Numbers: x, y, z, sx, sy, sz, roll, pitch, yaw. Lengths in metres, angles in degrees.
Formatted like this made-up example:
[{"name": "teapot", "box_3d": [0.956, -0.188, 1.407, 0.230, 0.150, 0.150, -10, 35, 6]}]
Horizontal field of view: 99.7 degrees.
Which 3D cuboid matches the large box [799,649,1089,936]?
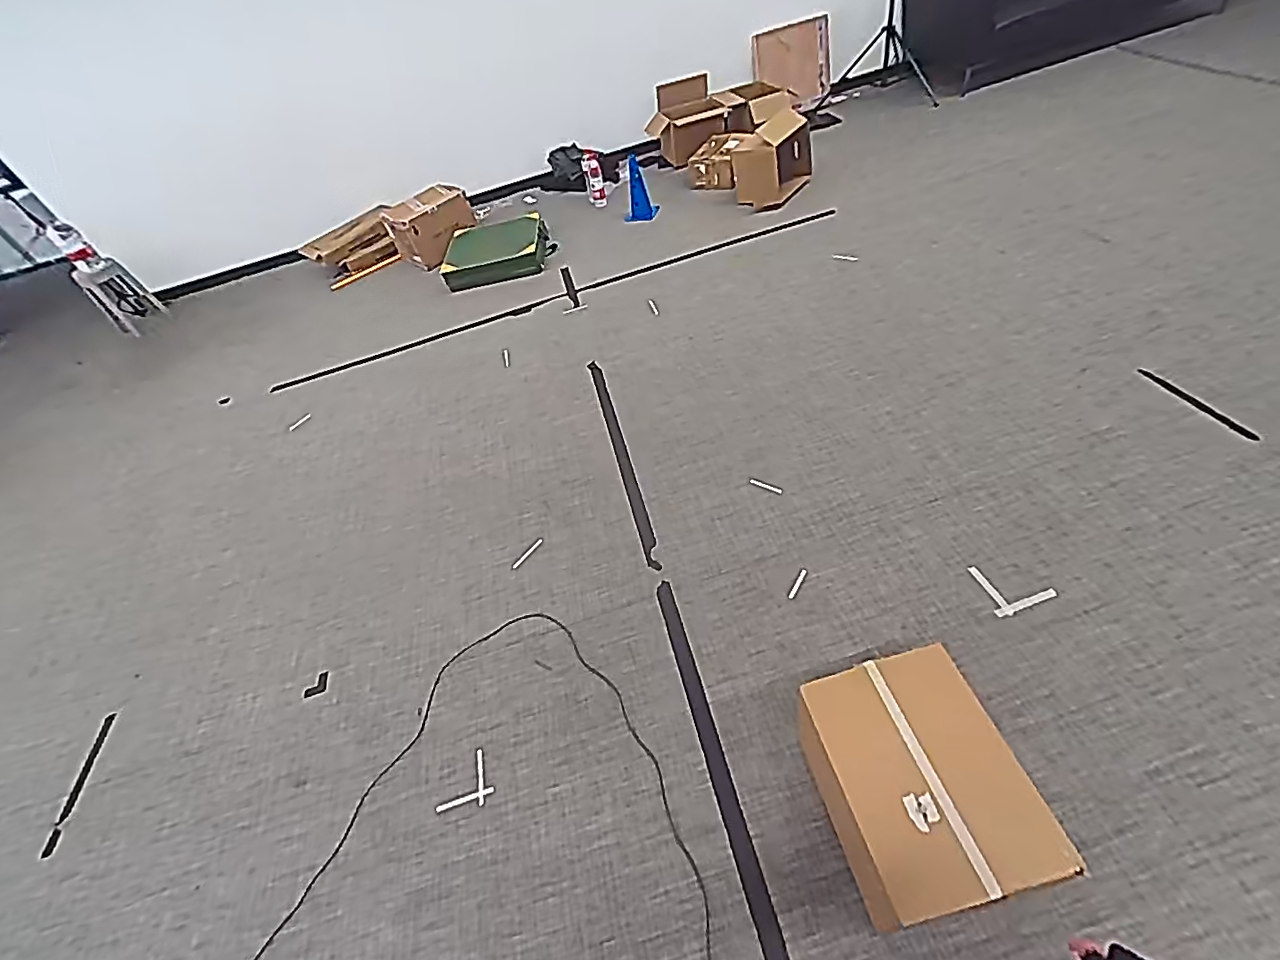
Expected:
[{"name": "large box", "box_3d": [0.554, 0.629, 1.101, 0.320, 0.320, 0.408, -18, 47, 0]}]
